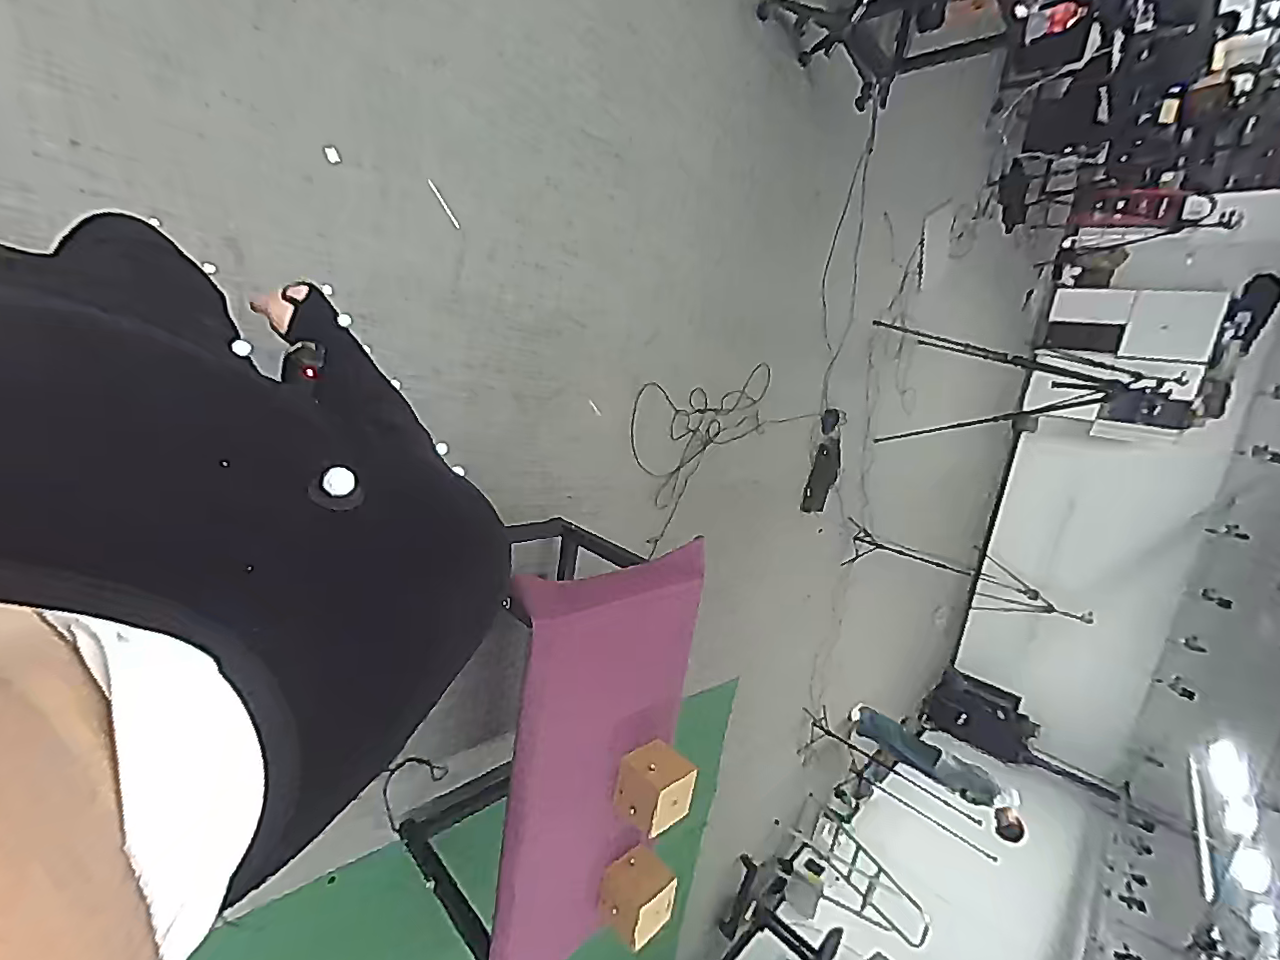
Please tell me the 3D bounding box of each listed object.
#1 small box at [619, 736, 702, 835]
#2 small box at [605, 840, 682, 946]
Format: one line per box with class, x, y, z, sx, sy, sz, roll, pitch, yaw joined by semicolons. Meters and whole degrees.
small box;0.059;0.926;1.656;0.179;0.176;0.168;0;105;-46
small box;0.007;1.321;1.743;0.179;0.176;0.168;-3;106;-45
